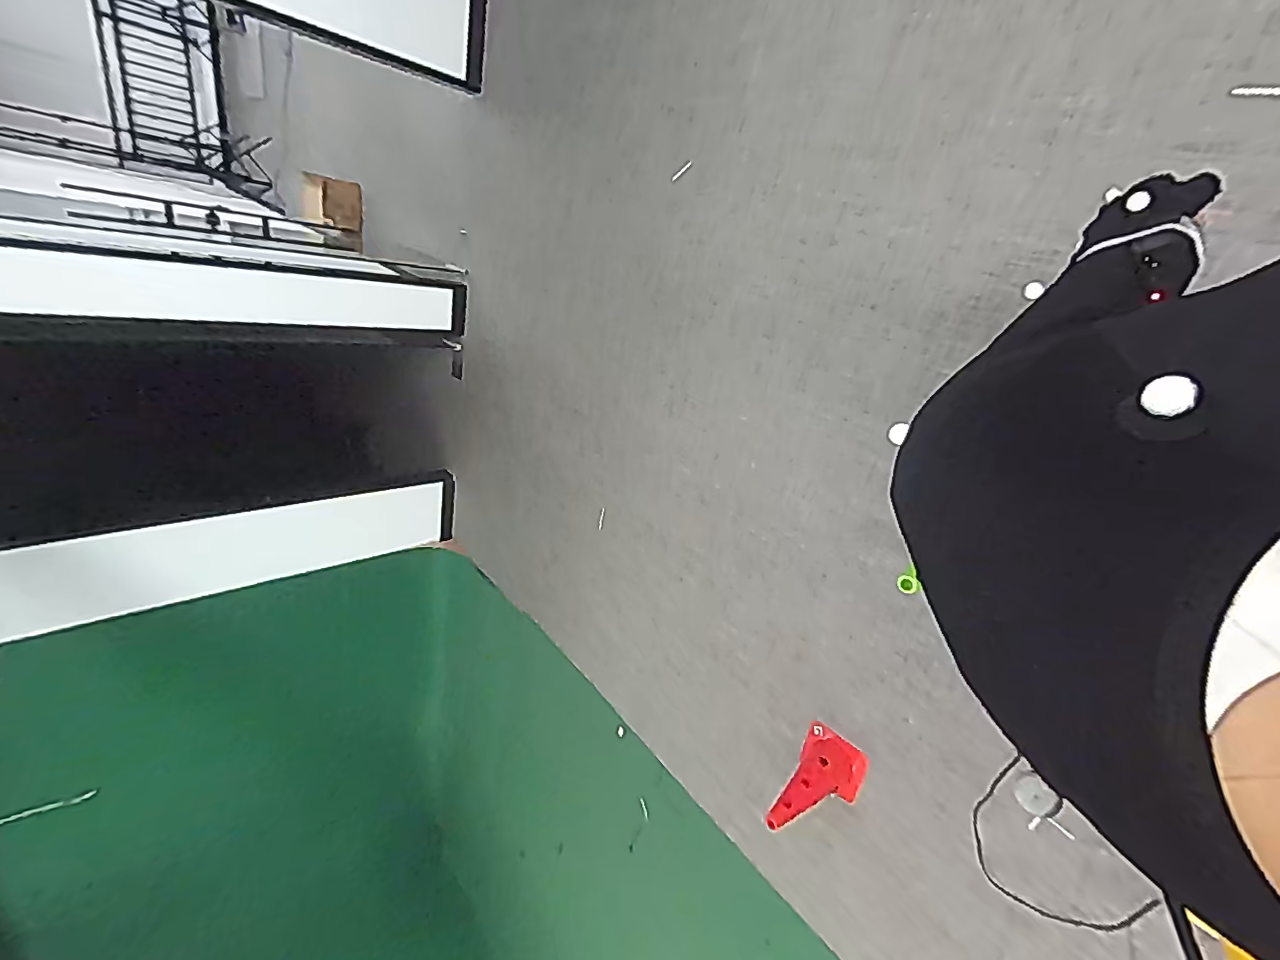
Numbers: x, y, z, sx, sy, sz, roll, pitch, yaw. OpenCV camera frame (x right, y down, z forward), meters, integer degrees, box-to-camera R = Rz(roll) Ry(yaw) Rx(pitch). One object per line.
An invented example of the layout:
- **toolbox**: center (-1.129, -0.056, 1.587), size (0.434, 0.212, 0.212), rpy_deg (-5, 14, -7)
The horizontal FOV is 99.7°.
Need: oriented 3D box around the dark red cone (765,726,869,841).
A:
- **dark red cone**: center (0.499, 0.938, 1.616), size (0.202, 0.394, 0.201), rpy_deg (27, 119, 41)
